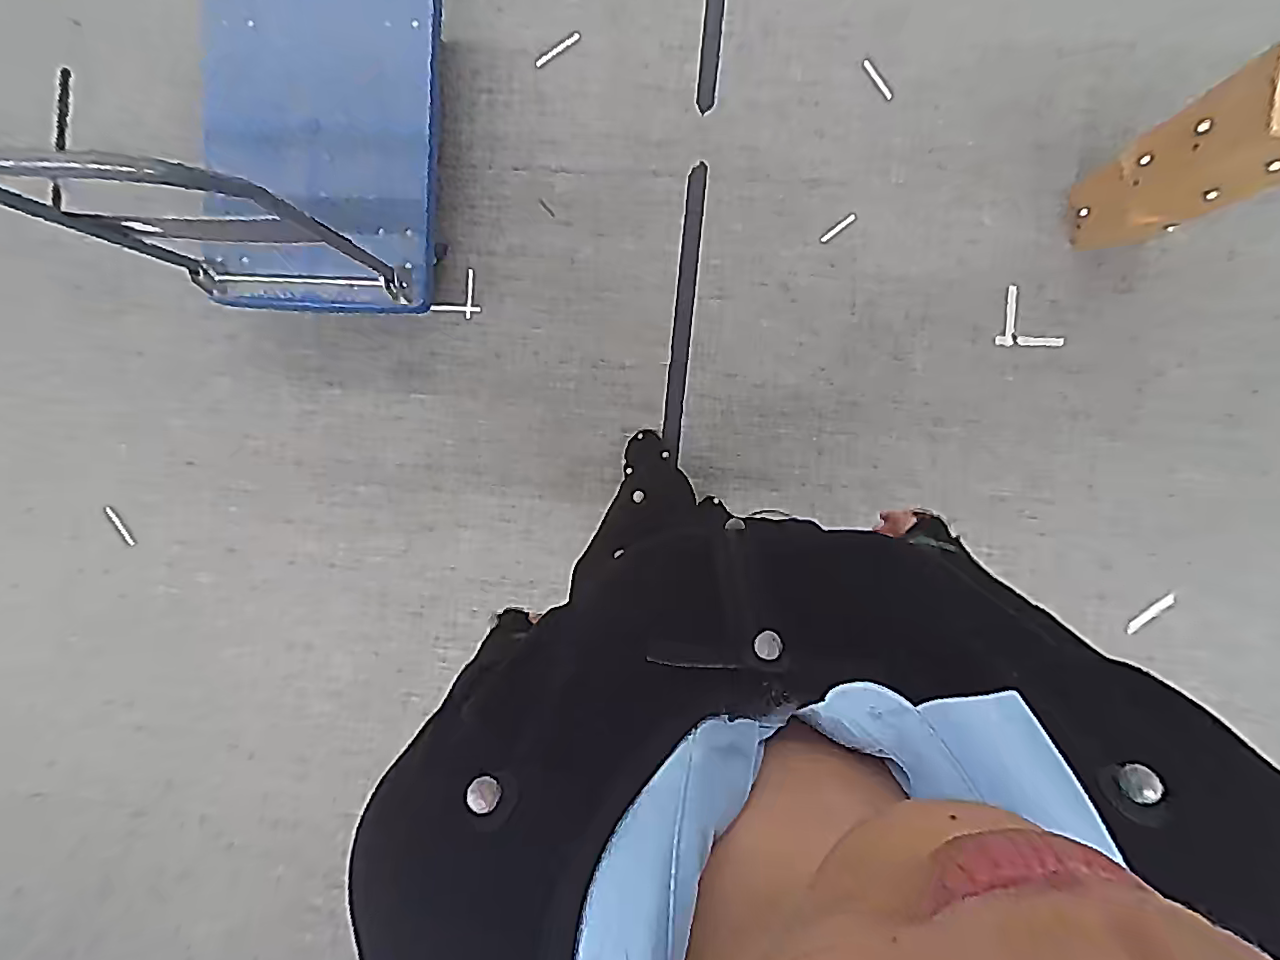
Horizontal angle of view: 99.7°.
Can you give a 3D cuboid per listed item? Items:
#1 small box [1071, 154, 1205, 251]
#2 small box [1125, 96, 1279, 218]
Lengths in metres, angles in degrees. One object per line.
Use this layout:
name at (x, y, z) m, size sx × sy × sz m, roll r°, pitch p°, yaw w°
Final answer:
small box at (1.211, -0.681, 1.323) m, size 0.179 × 0.176 × 0.168 m, roll -7°, pitch 91°, yaw 4°
small box at (1.208, -0.682, 1.160) m, size 0.179 × 0.176 × 0.168 m, roll 5°, pitch 92°, yaw 4°
